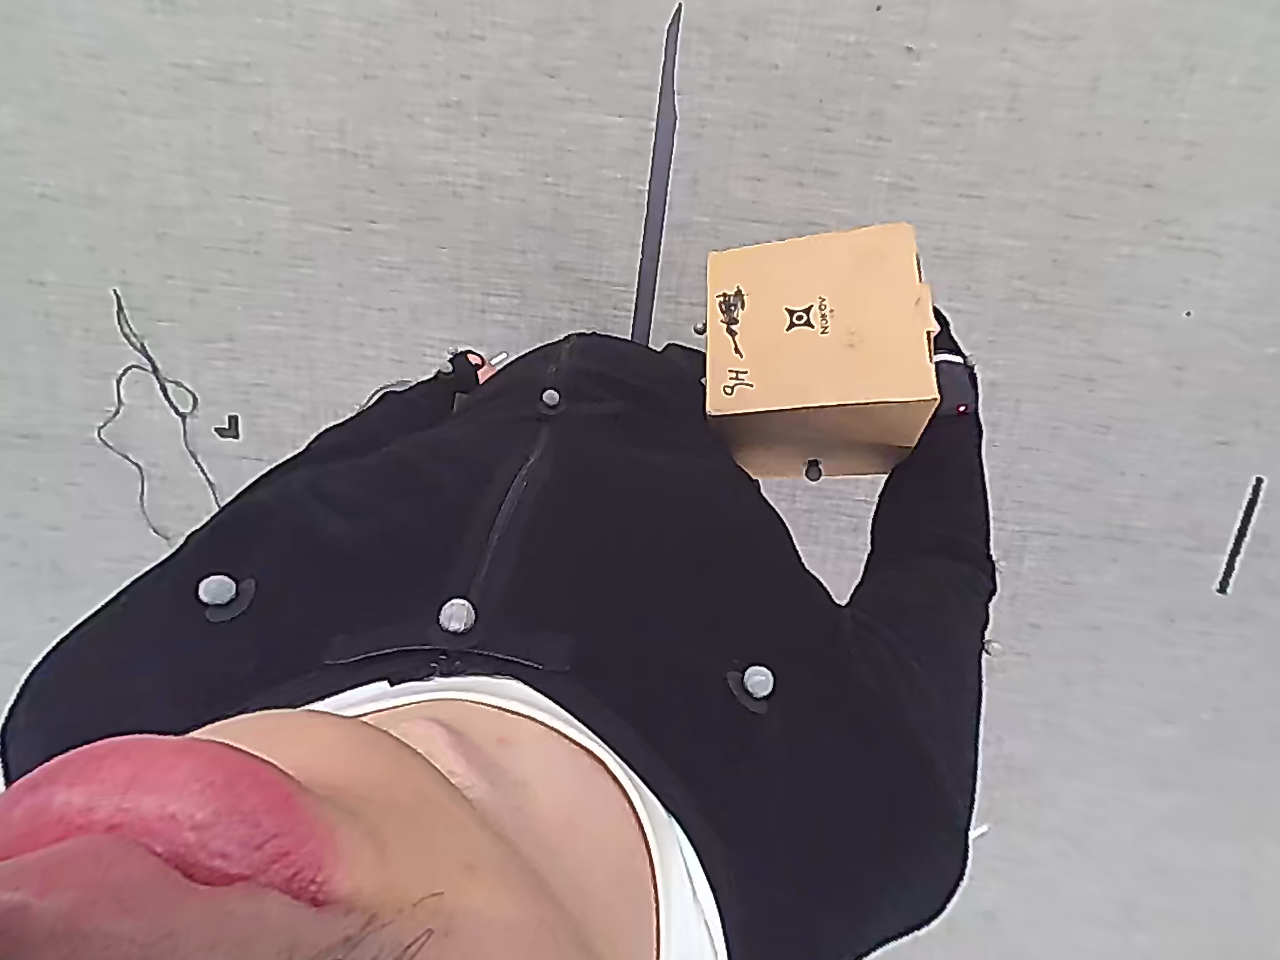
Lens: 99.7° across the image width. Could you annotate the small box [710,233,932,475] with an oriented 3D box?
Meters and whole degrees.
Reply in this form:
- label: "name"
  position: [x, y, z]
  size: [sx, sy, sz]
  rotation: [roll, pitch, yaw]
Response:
- label: "small box"
  position: [0.166, -0.109, 0.536]
  size: [0.179, 0.176, 0.168]
  rotation: [-2, 70, 14]
